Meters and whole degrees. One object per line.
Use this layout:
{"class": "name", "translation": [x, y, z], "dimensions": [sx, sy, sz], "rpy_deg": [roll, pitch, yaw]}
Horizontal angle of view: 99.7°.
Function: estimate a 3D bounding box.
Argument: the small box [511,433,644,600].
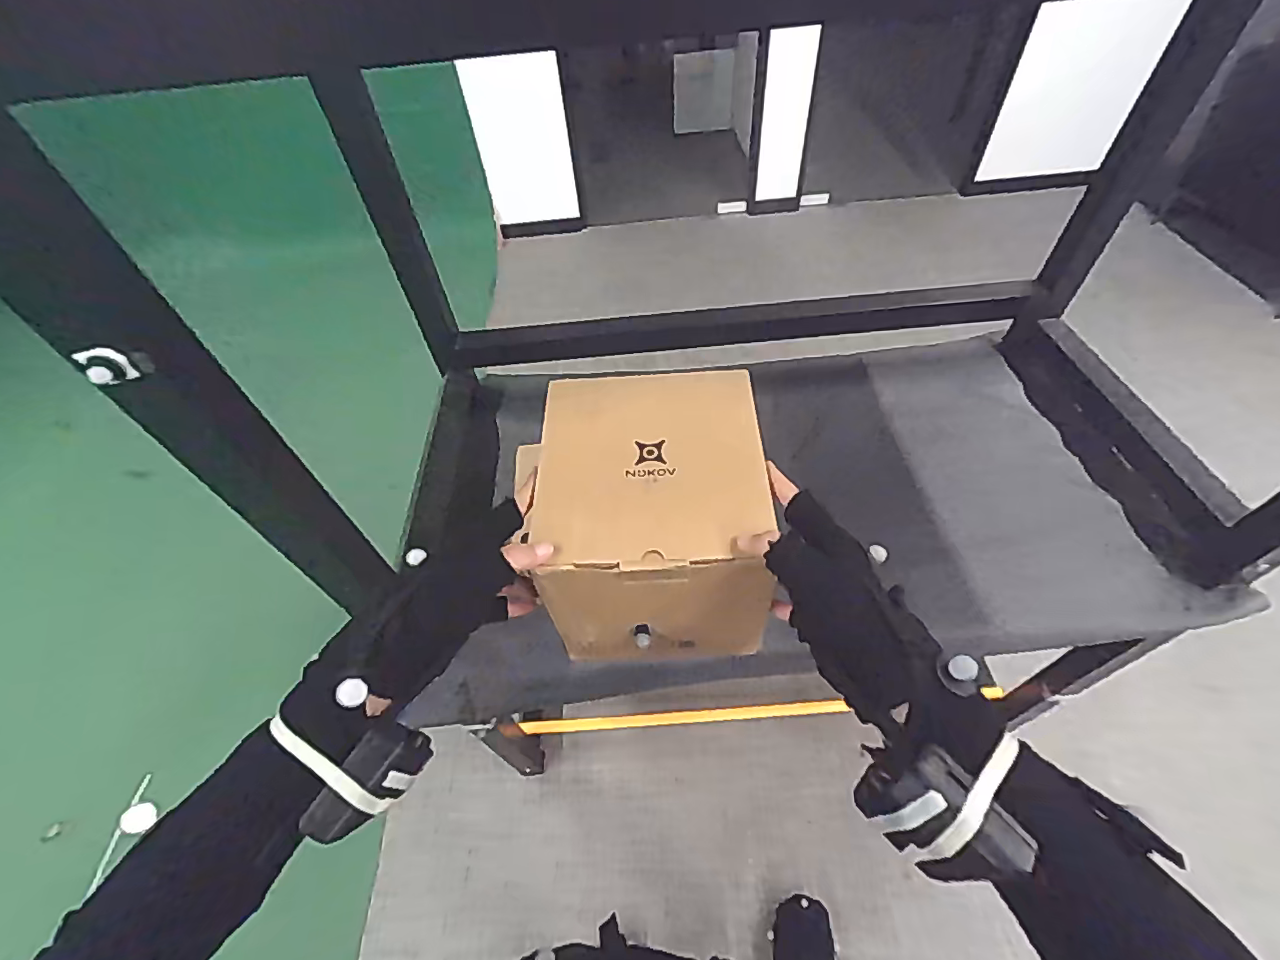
{"class": "small box", "translation": [-0.086, 0.056, 0.804], "dimensions": [0.168, 0.176, 0.179], "rpy_deg": [-7, 50, 0]}
